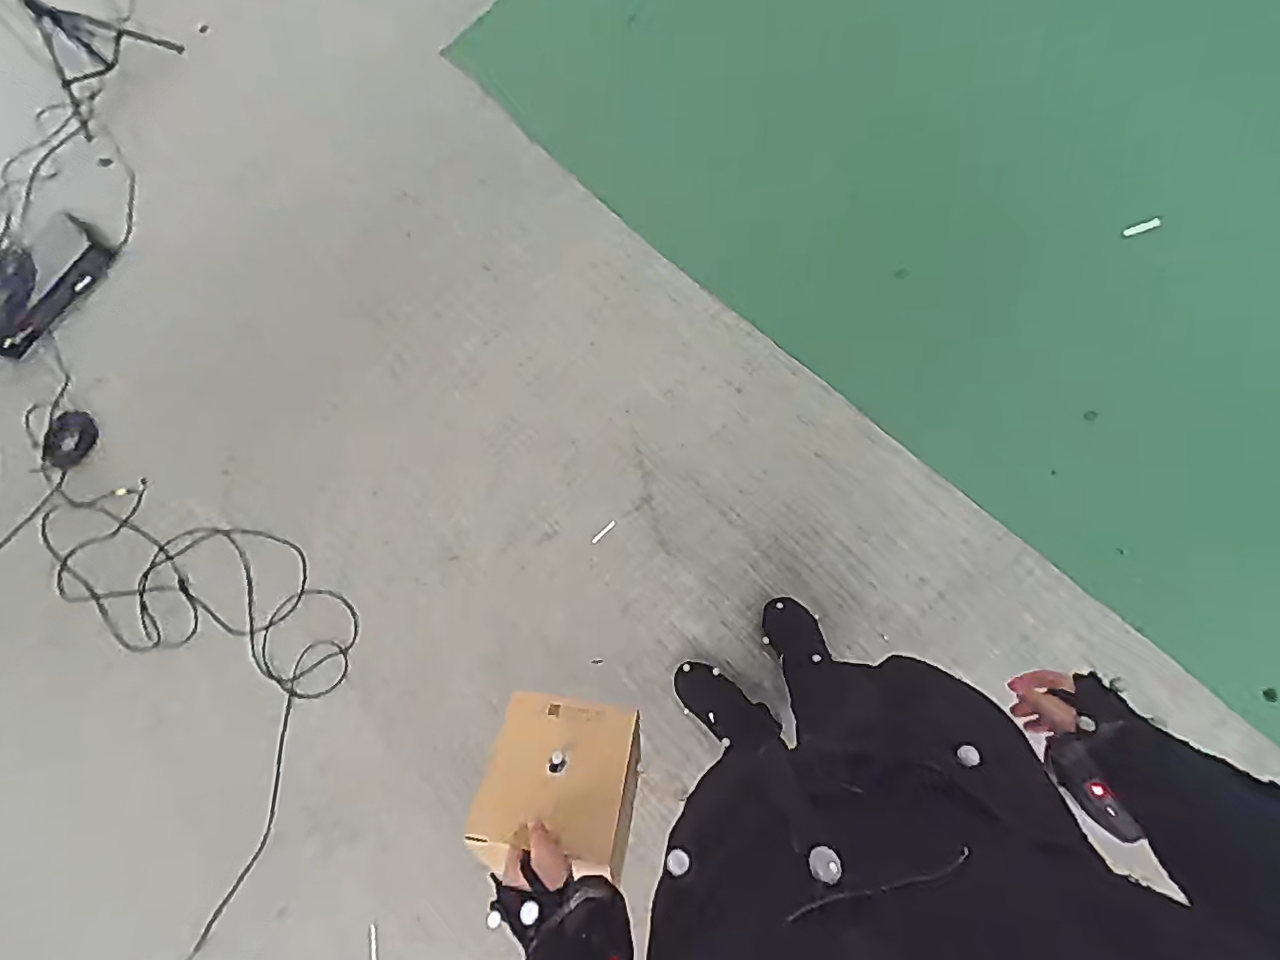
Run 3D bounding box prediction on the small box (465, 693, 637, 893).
[{"bbox_3d":[-0.099,0.392,0.686,0.168,0.179,0.176,6,44,6],"label":"small box"}]
